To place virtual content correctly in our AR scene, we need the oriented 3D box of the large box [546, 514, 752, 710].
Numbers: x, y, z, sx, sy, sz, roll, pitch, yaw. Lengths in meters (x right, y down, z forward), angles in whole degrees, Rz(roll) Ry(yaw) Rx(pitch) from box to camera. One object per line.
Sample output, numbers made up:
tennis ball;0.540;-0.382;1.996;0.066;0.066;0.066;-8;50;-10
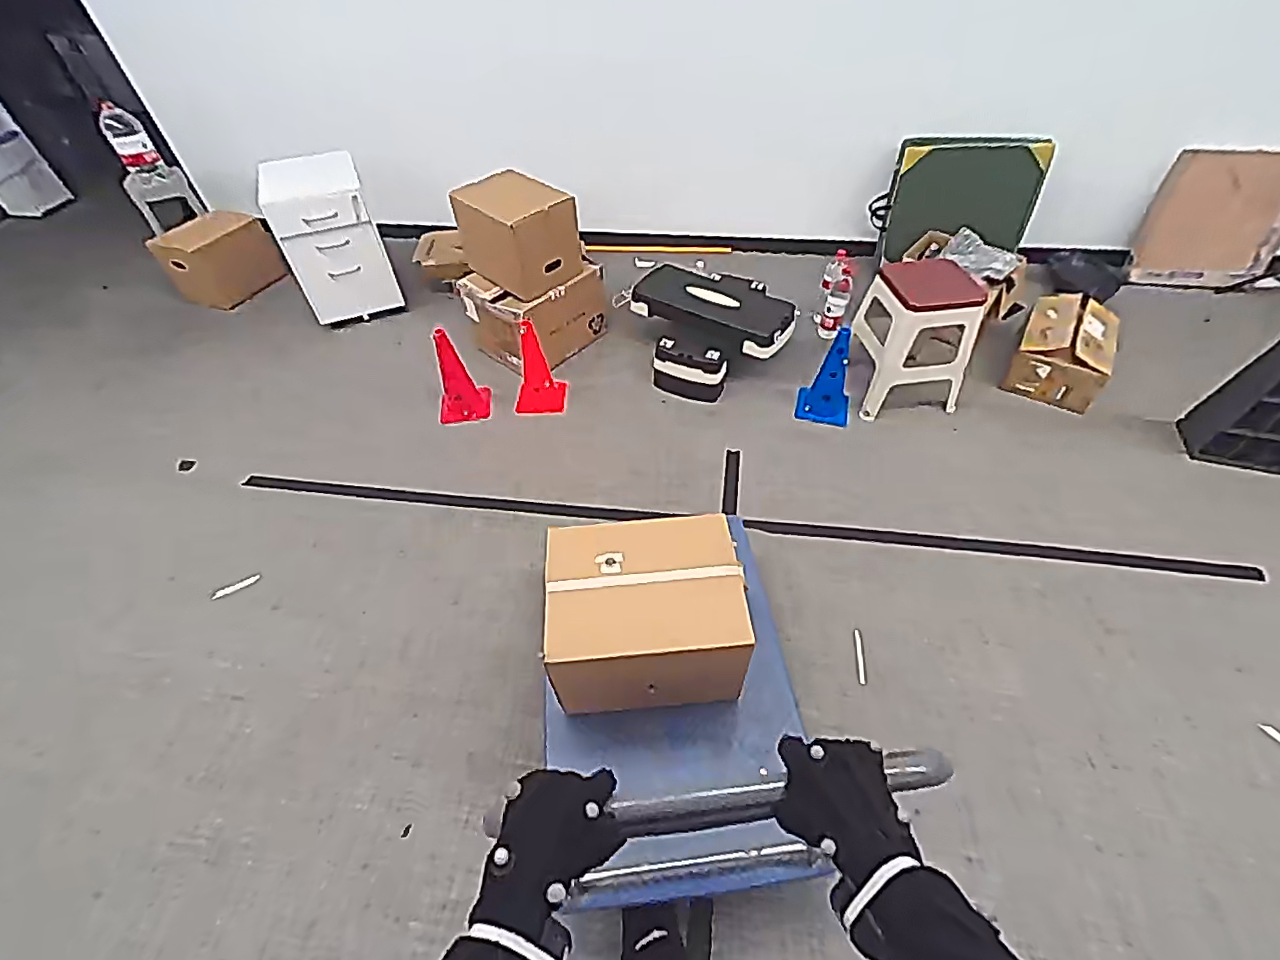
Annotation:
large box;0.013;0.306;1.236;0.408;0.320;0.320;-5;49;-1
